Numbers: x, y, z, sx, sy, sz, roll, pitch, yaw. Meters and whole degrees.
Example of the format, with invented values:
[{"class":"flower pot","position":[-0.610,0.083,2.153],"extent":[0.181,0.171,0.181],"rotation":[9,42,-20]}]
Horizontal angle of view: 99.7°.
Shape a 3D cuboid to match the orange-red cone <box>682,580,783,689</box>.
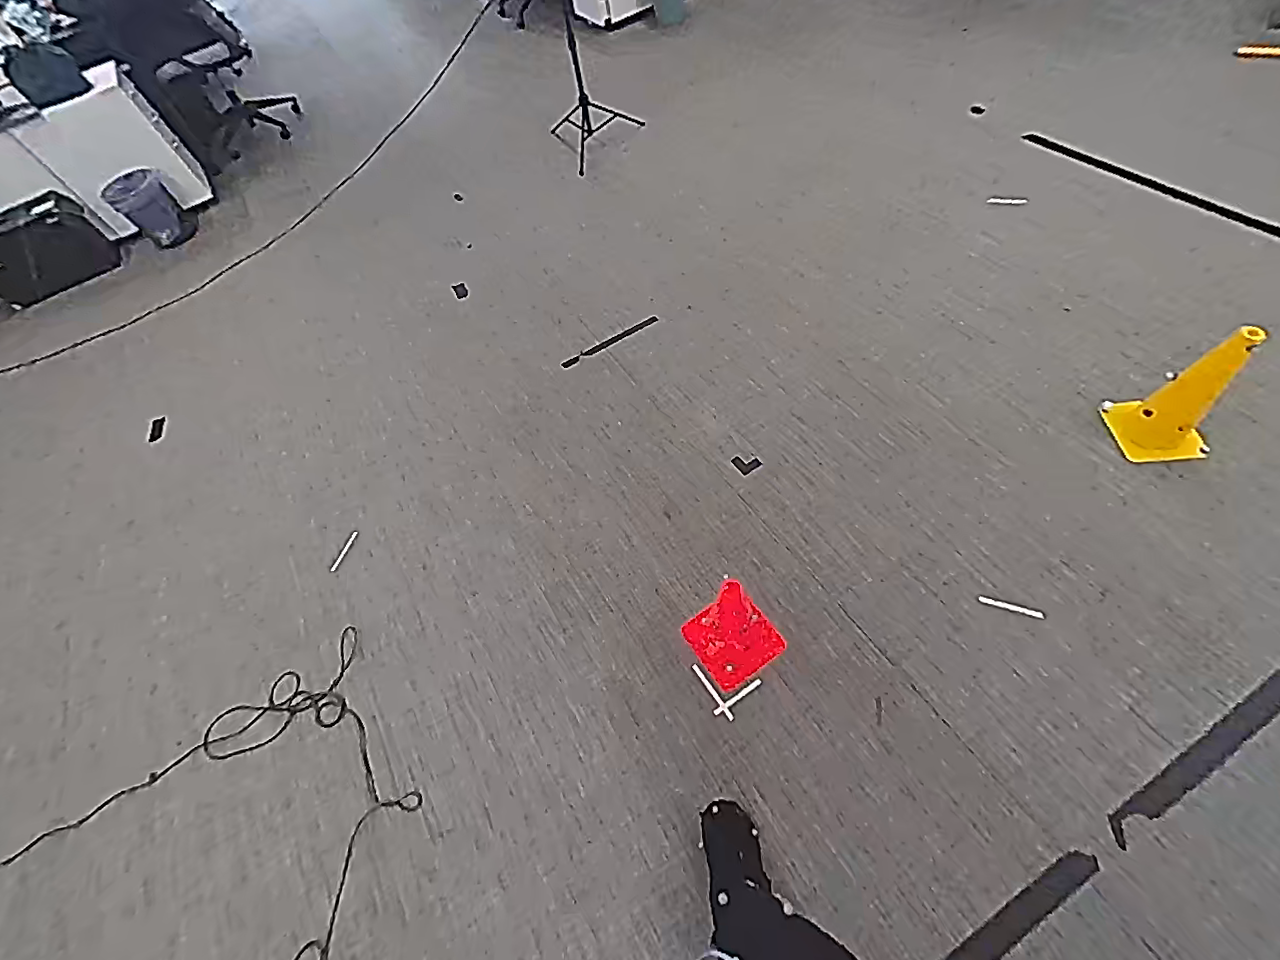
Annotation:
[{"class":"orange-red cone","position":[0.209,0.305,1.218],"extent":[0.199,0.360,0.198],"rotation":[-31,59,-11]}]
